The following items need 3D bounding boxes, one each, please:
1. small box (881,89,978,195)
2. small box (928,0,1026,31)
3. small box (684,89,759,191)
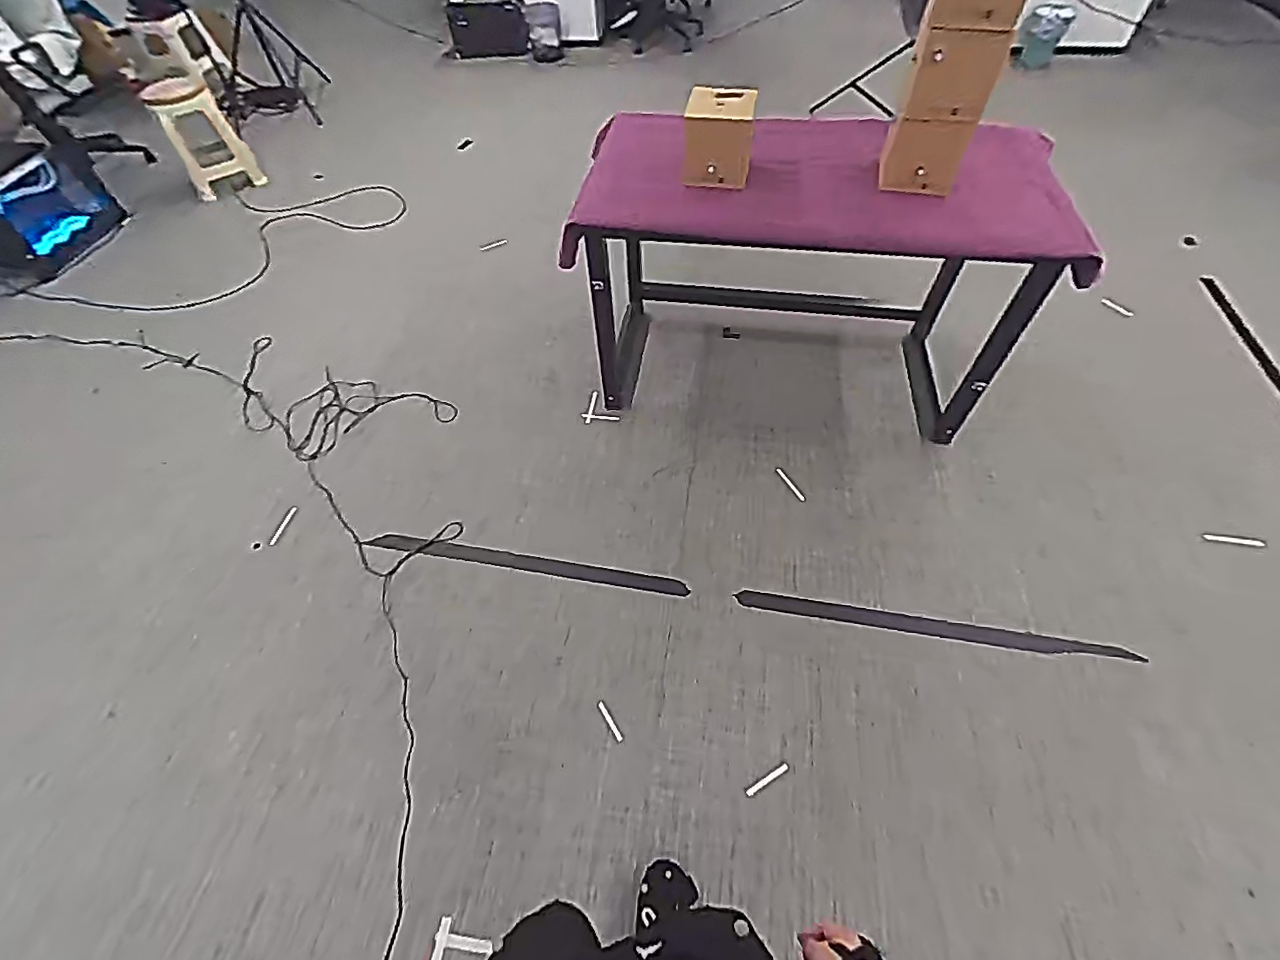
[{"bbox_3d":[0.711,-0.839,1.343,0.168,0.176,0.179,11,56,11],"label":"small box"},{"bbox_3d":[0.692,-1.024,1.074,0.168,0.176,0.179,13,55,11],"label":"small box"},{"bbox_3d":[0.208,-0.878,1.396,0.168,0.176,0.179,8,56,9],"label":"small box"}]
